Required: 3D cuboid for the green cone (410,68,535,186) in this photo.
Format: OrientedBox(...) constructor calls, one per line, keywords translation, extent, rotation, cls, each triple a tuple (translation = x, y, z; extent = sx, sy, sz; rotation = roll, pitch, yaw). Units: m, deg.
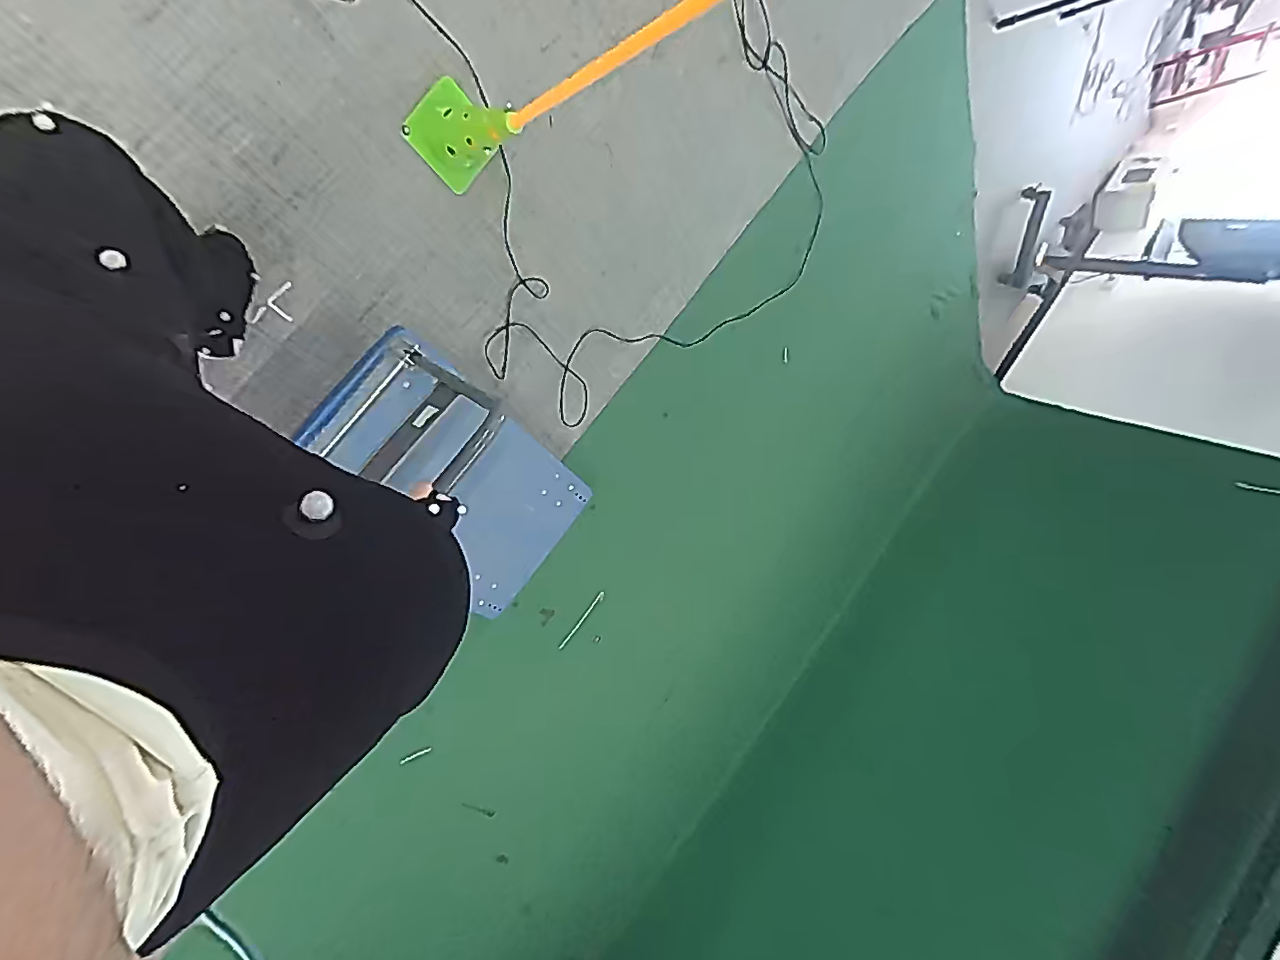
OrientedBox(translation=(-0.356, -0.847, 1.283), extent=(0.202, 0.368, 0.200), rotation=(-56, 137, -5), cls="green cone")
